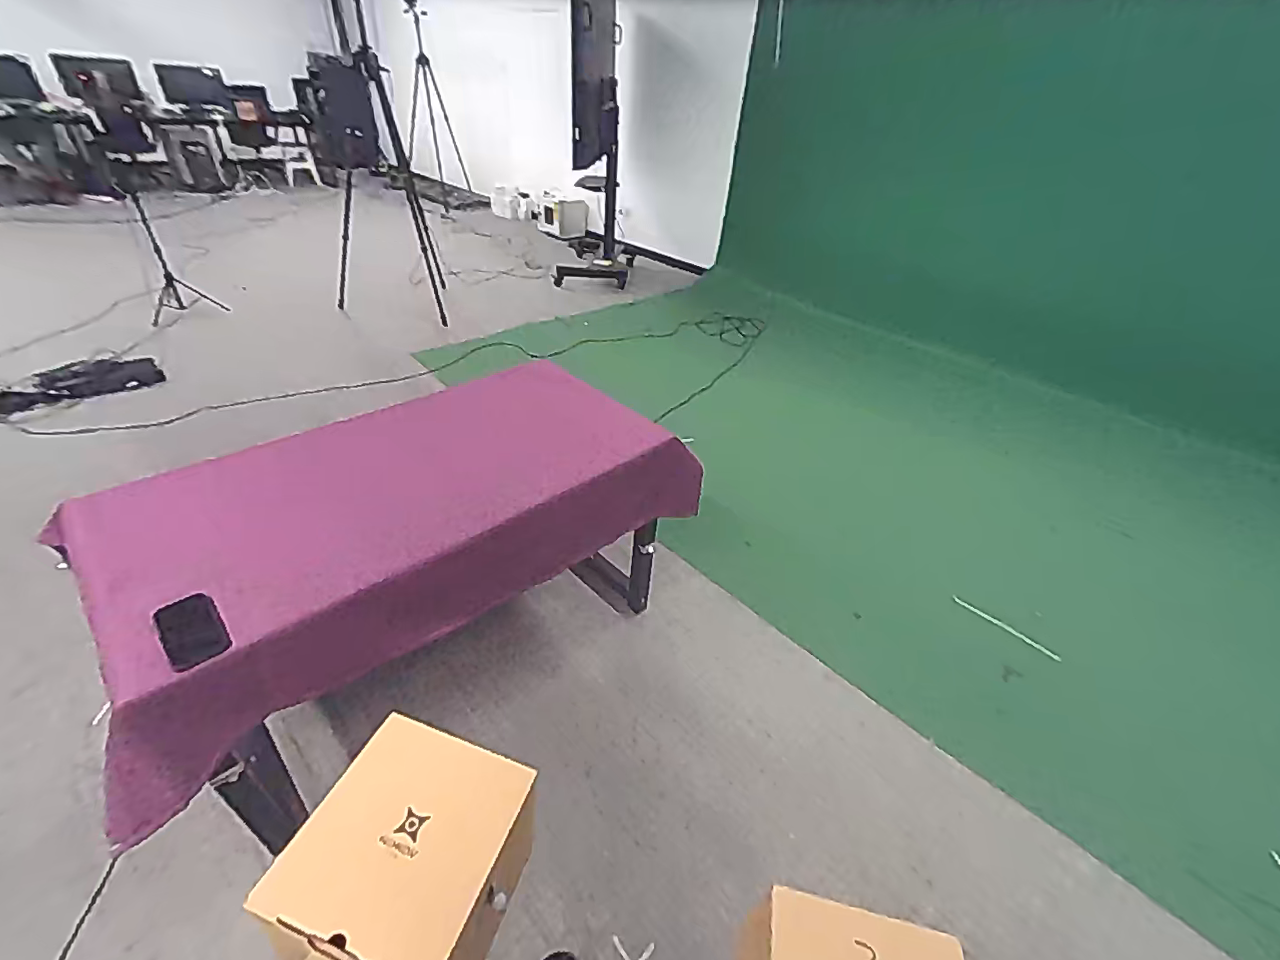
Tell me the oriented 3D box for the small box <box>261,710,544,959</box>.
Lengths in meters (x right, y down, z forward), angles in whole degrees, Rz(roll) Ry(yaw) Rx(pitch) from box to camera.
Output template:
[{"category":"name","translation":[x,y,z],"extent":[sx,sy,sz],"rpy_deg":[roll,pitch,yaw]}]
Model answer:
[{"category":"small box","translation":[-0.208,0.367,0.517],"extent":[0.168,0.176,0.179],"rpy_deg":[17,35,10]}]
